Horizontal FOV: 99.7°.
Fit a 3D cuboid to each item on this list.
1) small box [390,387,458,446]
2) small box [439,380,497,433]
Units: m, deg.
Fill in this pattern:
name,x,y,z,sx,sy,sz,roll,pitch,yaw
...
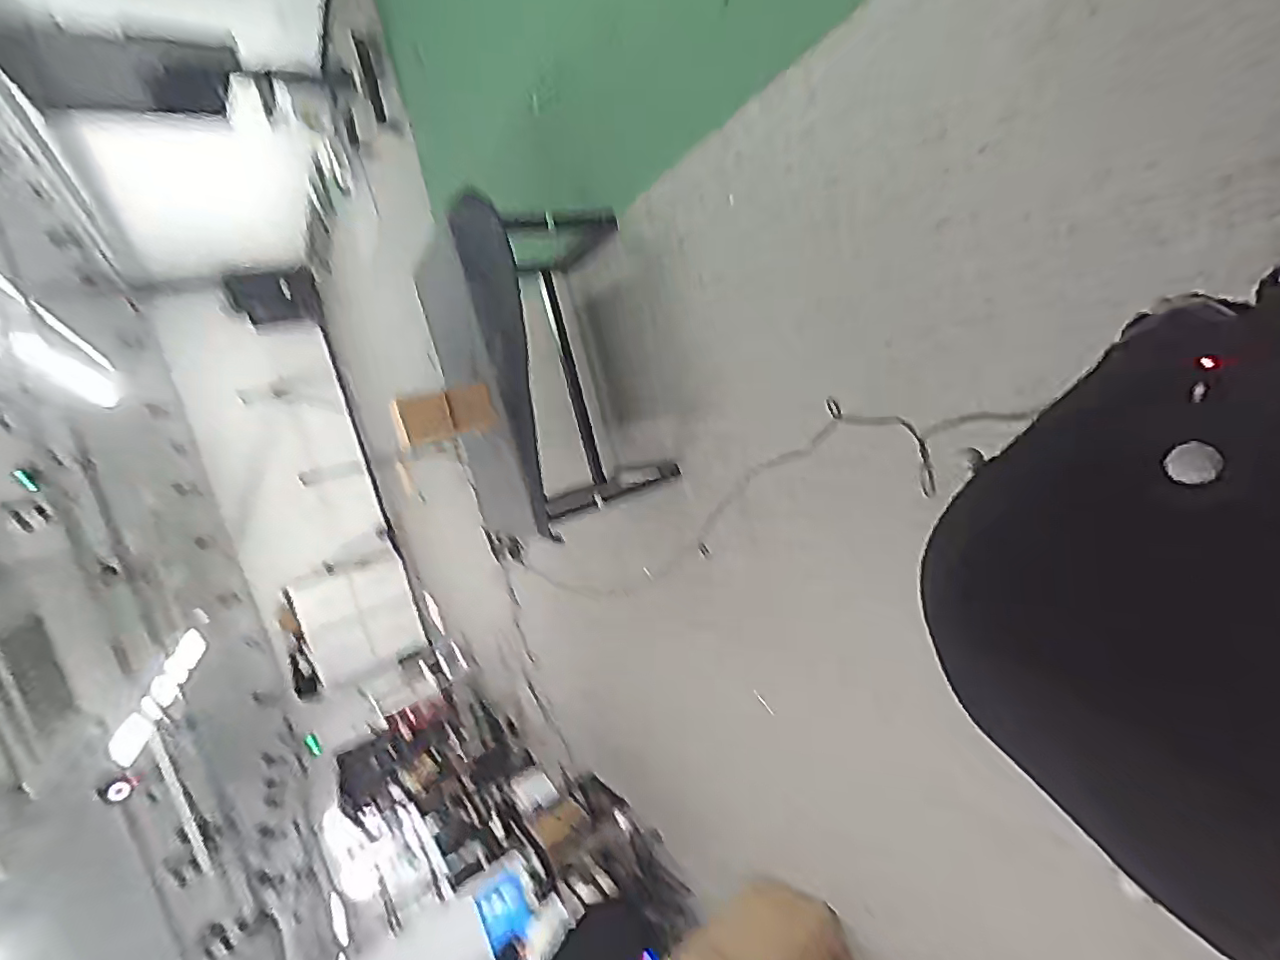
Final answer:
name,x,y,z,sx,sy,sz,roll,pitch,yaw
small box,-0.791,-0.235,1.977,0.168,0.176,0.179,-5,102,56
small box,-0.674,-0.281,2.079,0.168,0.176,0.179,-3,104,57
